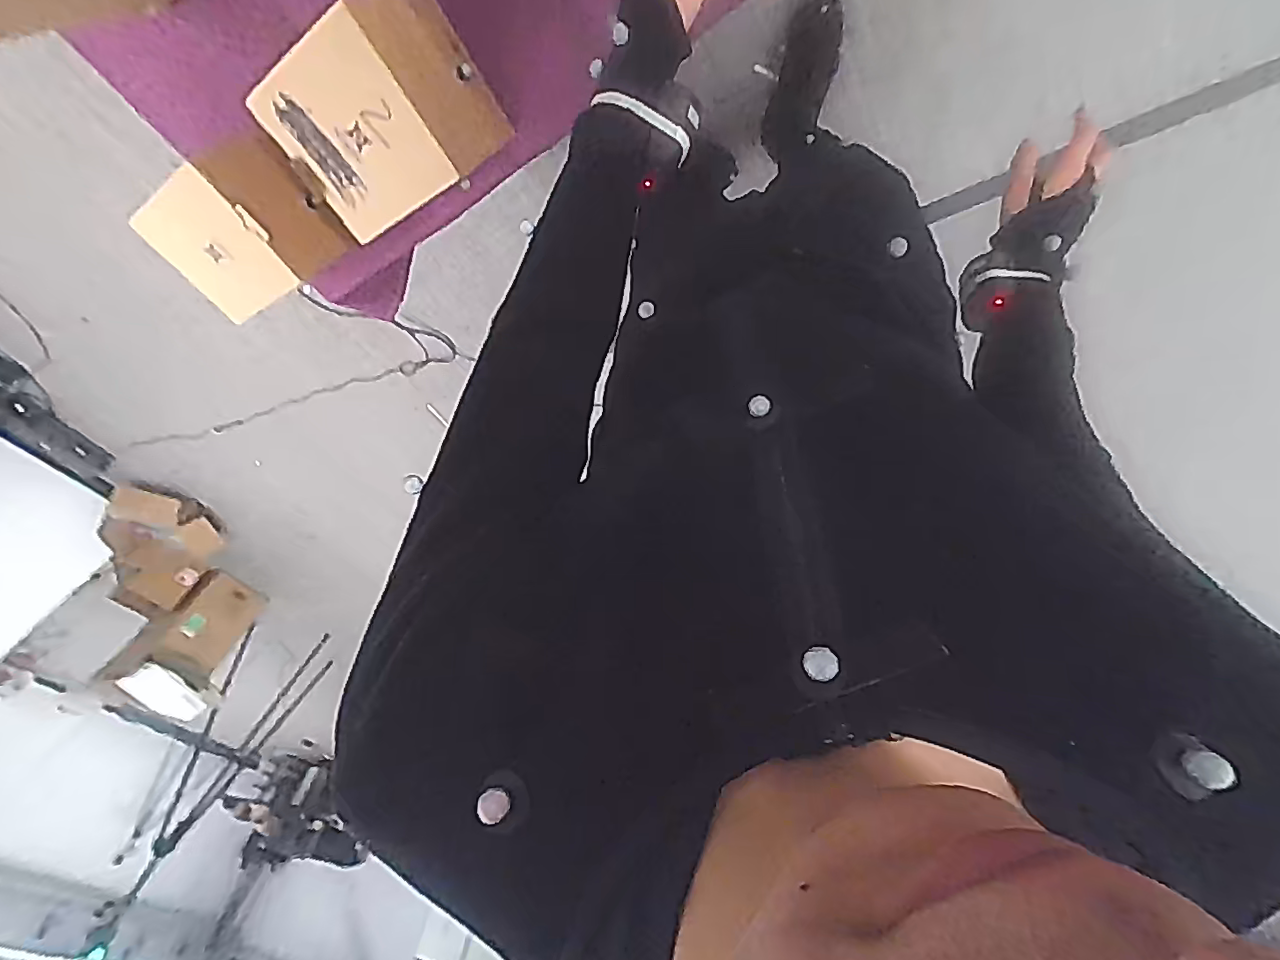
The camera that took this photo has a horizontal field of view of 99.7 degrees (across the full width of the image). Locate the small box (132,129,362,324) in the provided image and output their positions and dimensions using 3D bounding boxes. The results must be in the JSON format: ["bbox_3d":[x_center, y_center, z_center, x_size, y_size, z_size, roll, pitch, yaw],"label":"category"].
[{"bbox_3d":[-0.541,-0.358,0.769,0.179,0.176,0.168,-14,130,28],"label":"small box"}]
